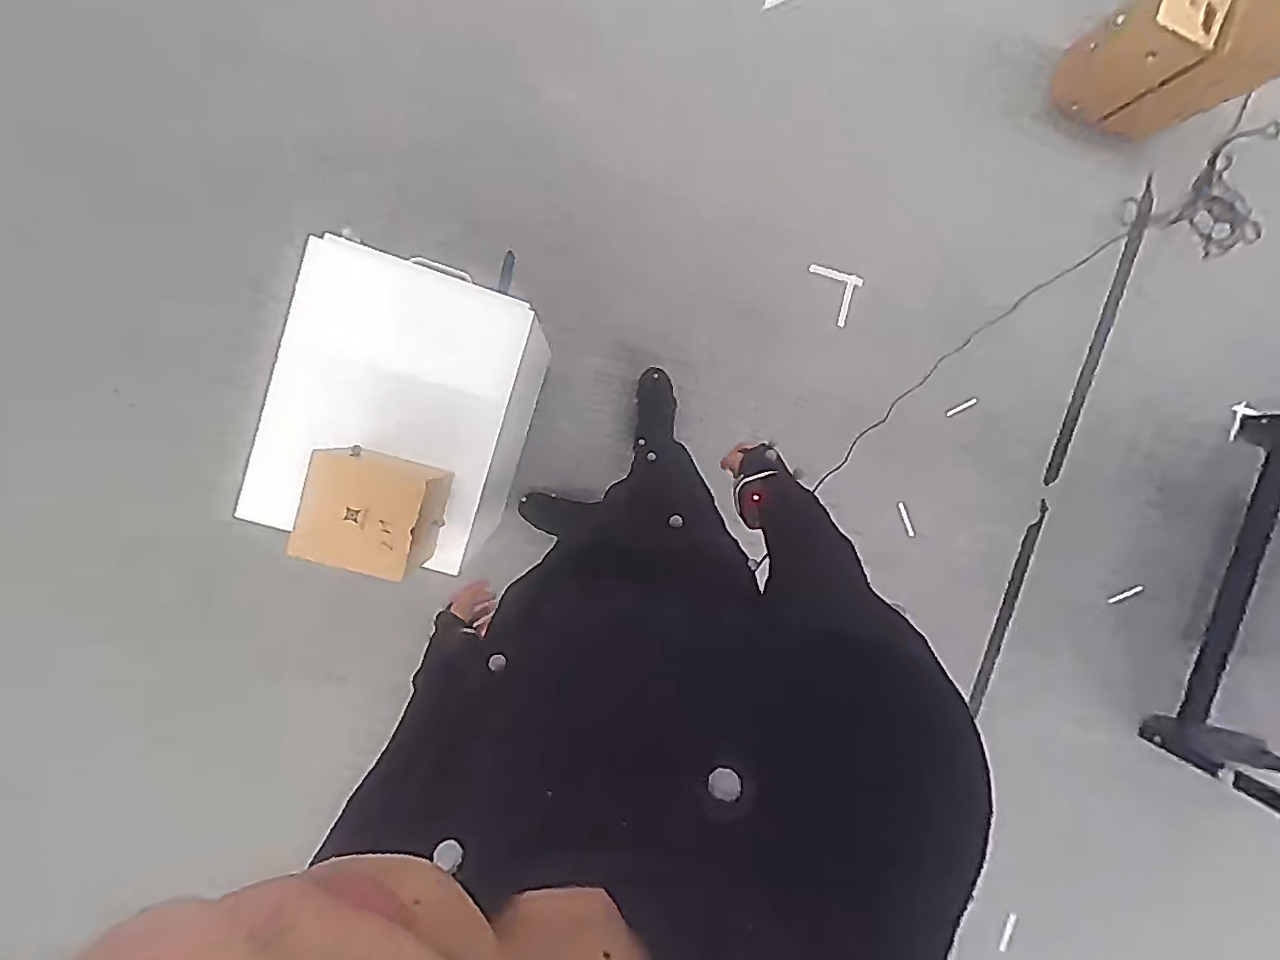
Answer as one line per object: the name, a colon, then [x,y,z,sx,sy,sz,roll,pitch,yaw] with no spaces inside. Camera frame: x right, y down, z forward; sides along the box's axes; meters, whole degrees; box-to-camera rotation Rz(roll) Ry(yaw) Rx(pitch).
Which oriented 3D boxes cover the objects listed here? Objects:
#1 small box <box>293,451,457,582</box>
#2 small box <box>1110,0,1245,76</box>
small box: [-0.427,0.051,0.898,0.179,0.176,0.168,16,94,-7]
small box: [1.380,-1.190,1.385,0.179,0.176,0.168,20,93,-5]
